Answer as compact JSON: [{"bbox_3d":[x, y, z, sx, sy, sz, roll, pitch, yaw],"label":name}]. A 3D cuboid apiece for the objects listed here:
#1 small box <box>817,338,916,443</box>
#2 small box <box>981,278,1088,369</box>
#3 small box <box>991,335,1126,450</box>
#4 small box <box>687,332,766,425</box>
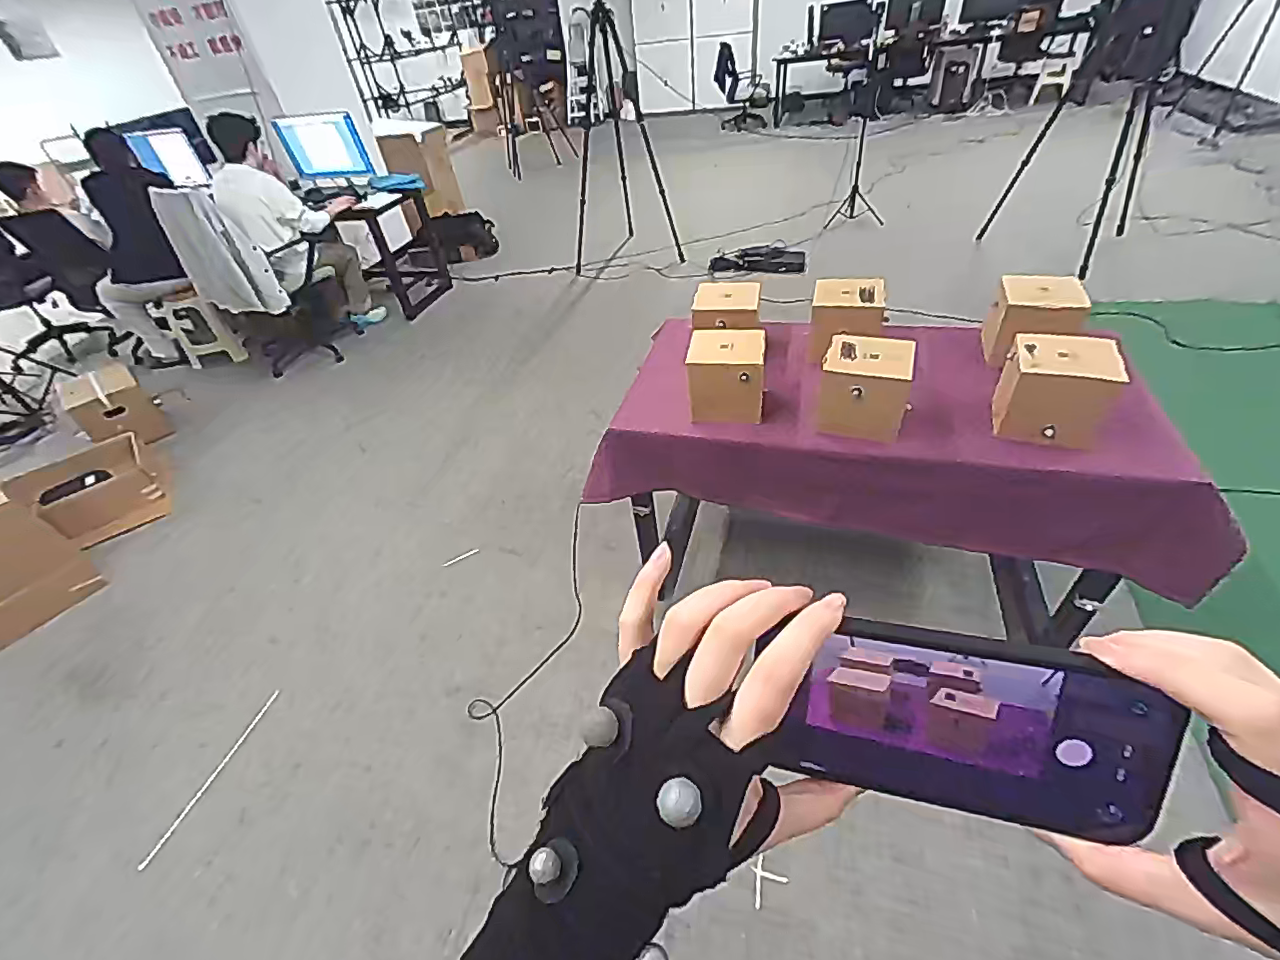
[{"bbox_3d":[0.507,-0.203,1.224,0.179,0.176,0.168,12,45,20],"label":"small box"},{"bbox_3d":[0.974,-0.388,1.354,0.168,0.176,0.179,9,45,20],"label":"small box"},{"bbox_3d":[0.868,-0.183,1.141,0.179,0.176,0.168,12,45,21],"label":"small box"},{"bbox_3d":[0.214,-0.248,1.324,0.179,0.176,0.168,4,42,11],"label":"small box"}]
